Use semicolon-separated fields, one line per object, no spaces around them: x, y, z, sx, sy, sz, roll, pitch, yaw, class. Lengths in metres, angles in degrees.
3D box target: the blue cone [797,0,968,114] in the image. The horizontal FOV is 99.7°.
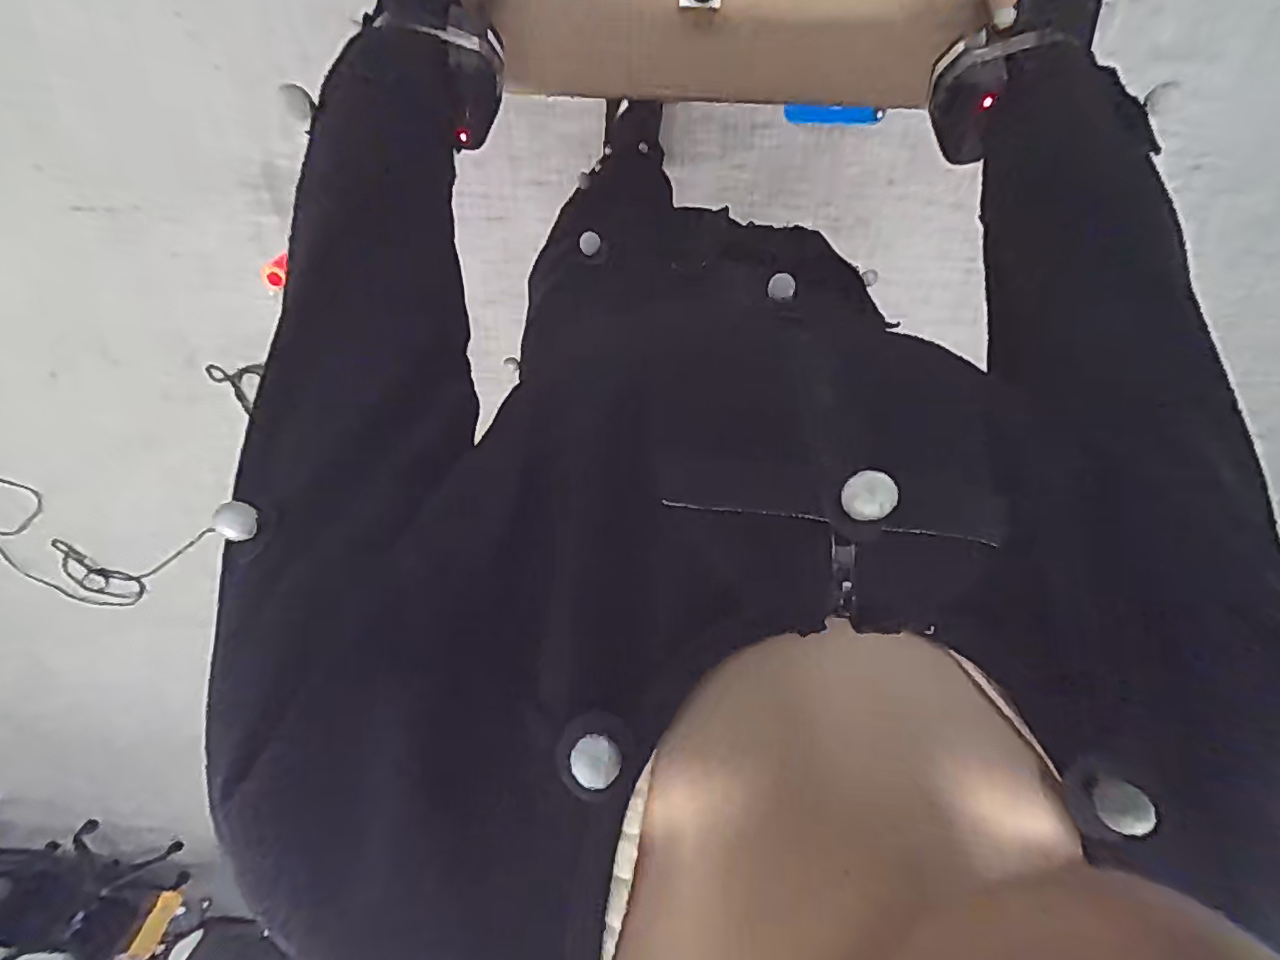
0.390;-0.692;0.847;0.192;0.380;0.193;1;123;-2;blue cone
